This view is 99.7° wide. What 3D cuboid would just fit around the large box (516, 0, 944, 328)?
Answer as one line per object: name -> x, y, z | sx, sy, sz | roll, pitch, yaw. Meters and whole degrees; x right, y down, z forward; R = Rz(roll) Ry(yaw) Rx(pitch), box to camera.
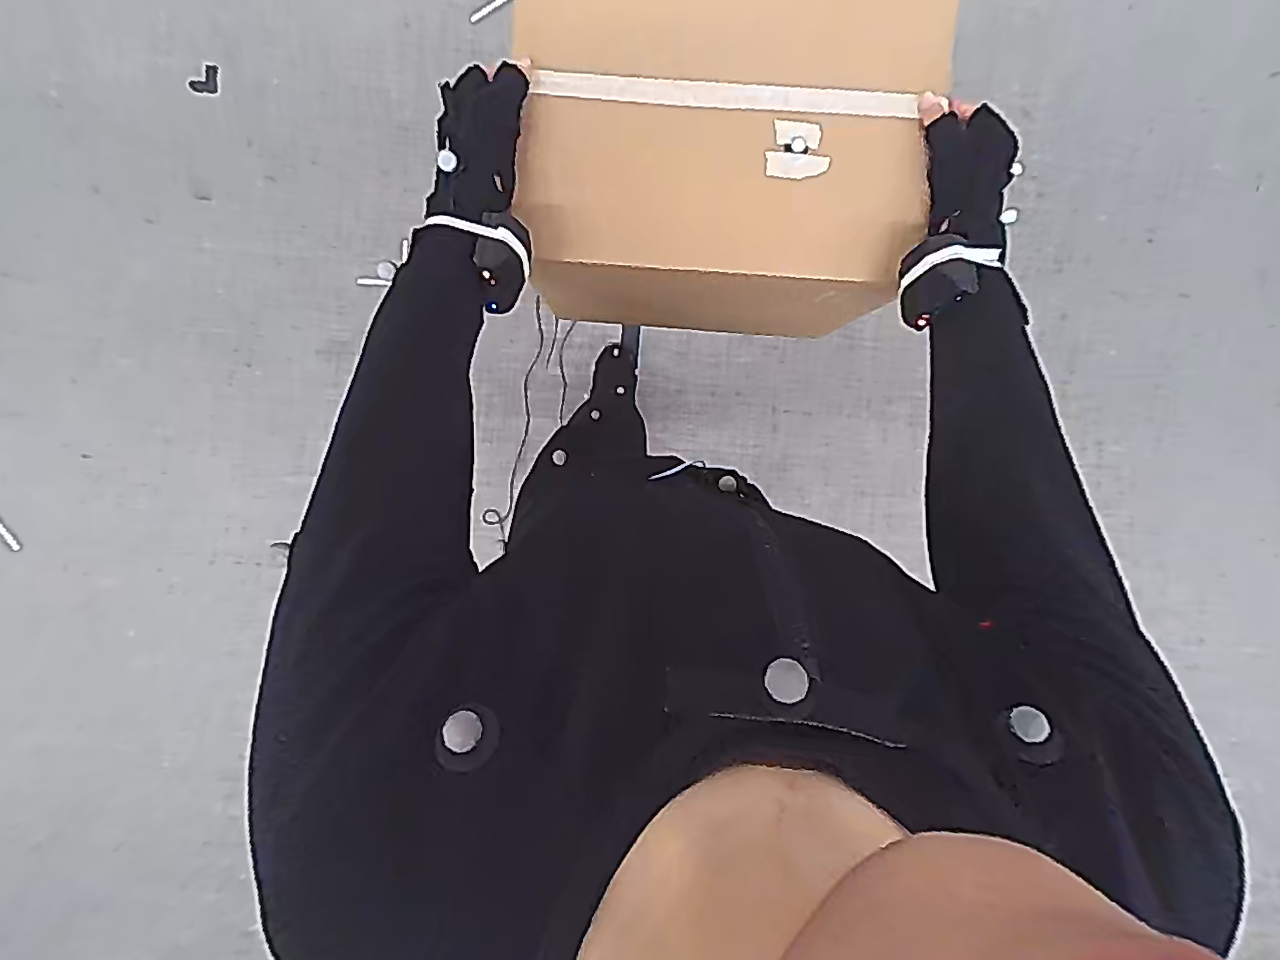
large box -> 0.081, -0.378, 0.664 | 0.408, 0.320, 0.320 | 4, 96, -1
